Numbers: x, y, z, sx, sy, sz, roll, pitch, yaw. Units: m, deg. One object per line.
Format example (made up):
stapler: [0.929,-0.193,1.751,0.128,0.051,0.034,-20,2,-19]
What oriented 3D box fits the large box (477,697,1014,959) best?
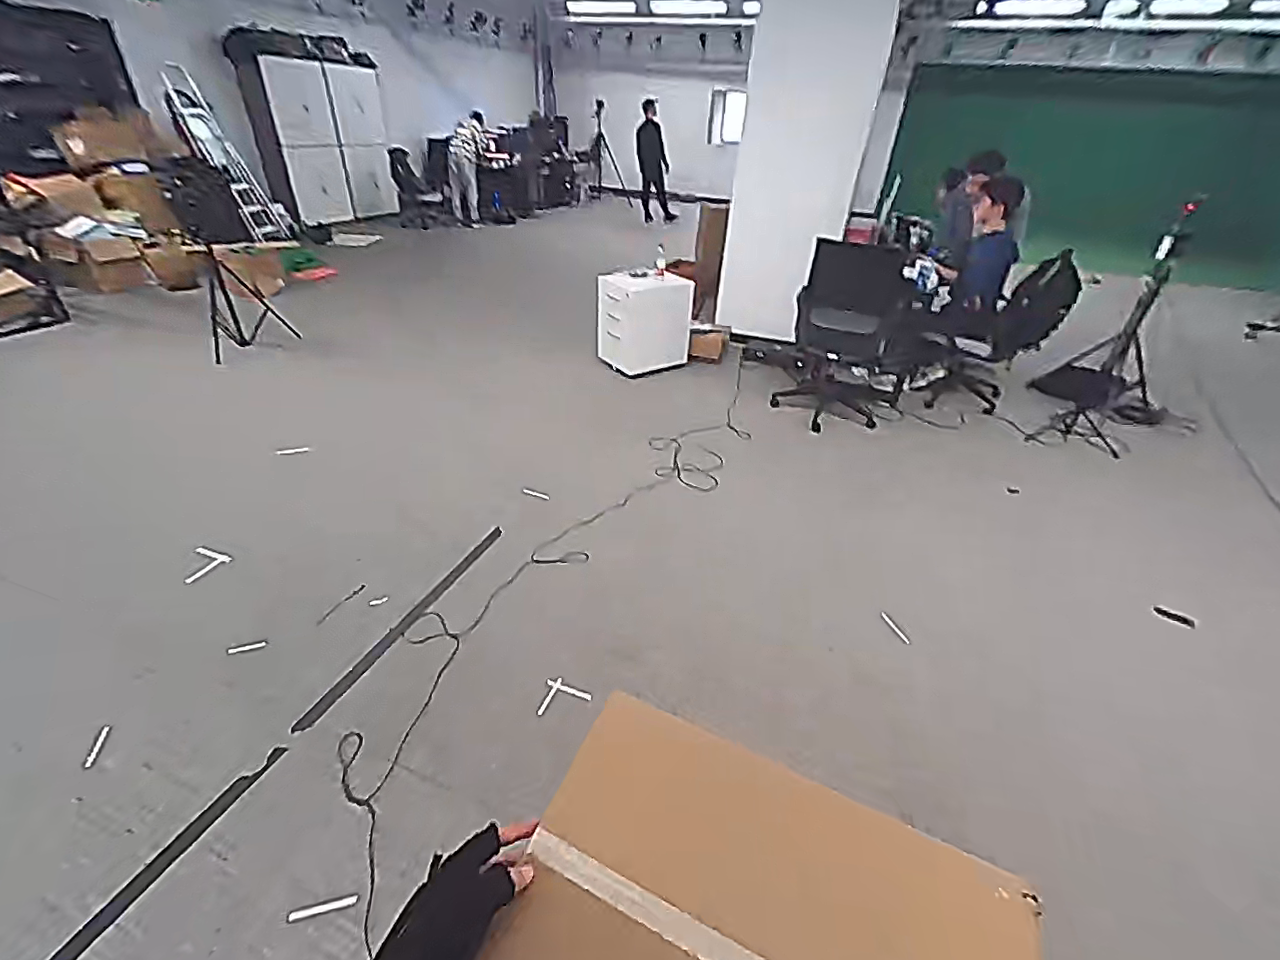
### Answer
large box: [0.085,0.496,0.542,0.408,0.320,0.320,18,47,18]
